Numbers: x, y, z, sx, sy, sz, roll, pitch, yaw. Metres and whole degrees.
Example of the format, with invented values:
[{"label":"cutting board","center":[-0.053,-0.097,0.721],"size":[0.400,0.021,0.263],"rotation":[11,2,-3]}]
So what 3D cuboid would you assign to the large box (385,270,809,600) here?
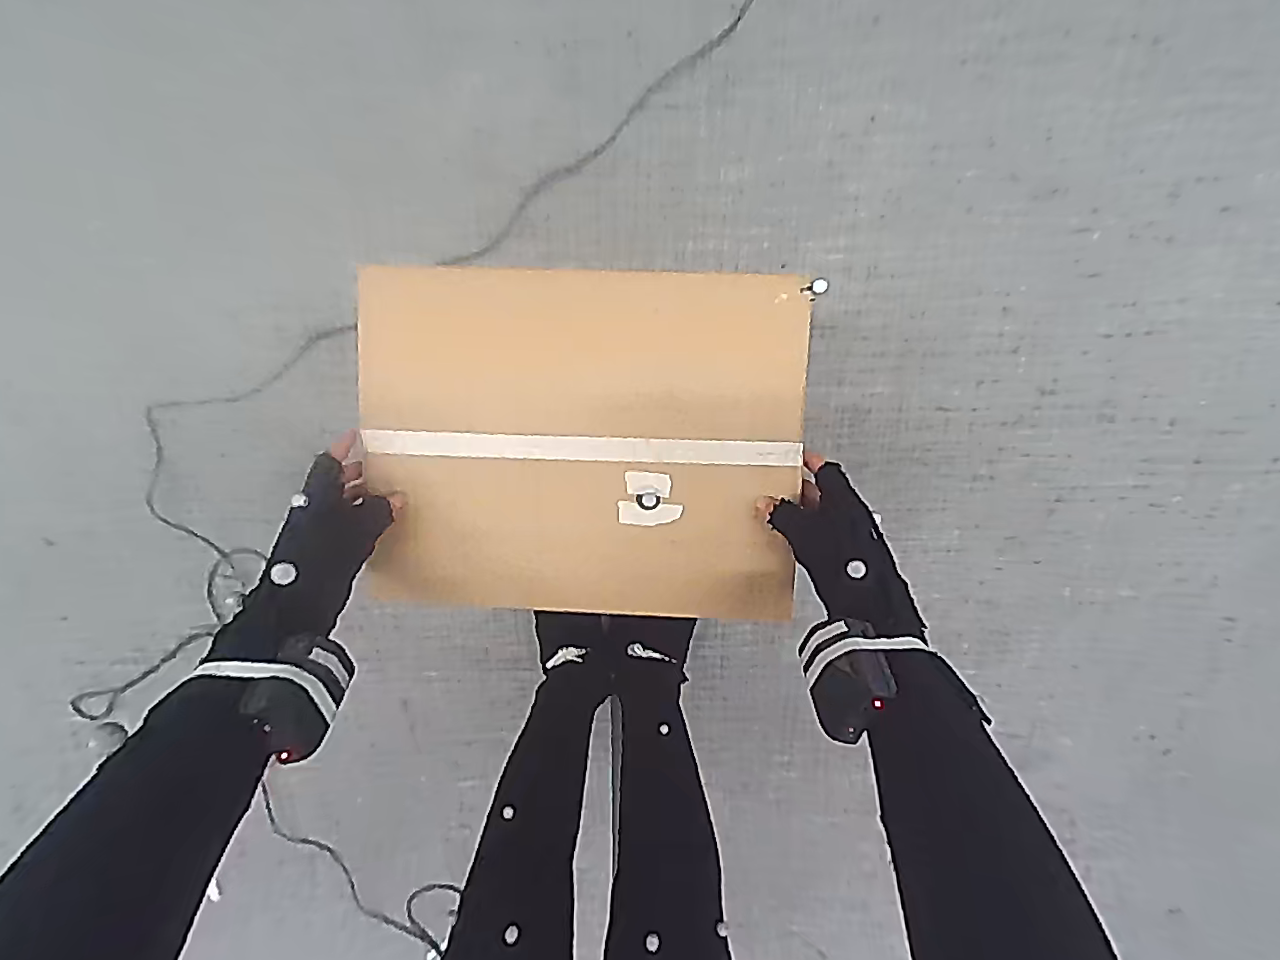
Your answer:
[{"label":"large box","center":[-0.042,-0.053,0.663],"size":[0.408,0.320,0.320],"rotation":[2,97,2]}]
